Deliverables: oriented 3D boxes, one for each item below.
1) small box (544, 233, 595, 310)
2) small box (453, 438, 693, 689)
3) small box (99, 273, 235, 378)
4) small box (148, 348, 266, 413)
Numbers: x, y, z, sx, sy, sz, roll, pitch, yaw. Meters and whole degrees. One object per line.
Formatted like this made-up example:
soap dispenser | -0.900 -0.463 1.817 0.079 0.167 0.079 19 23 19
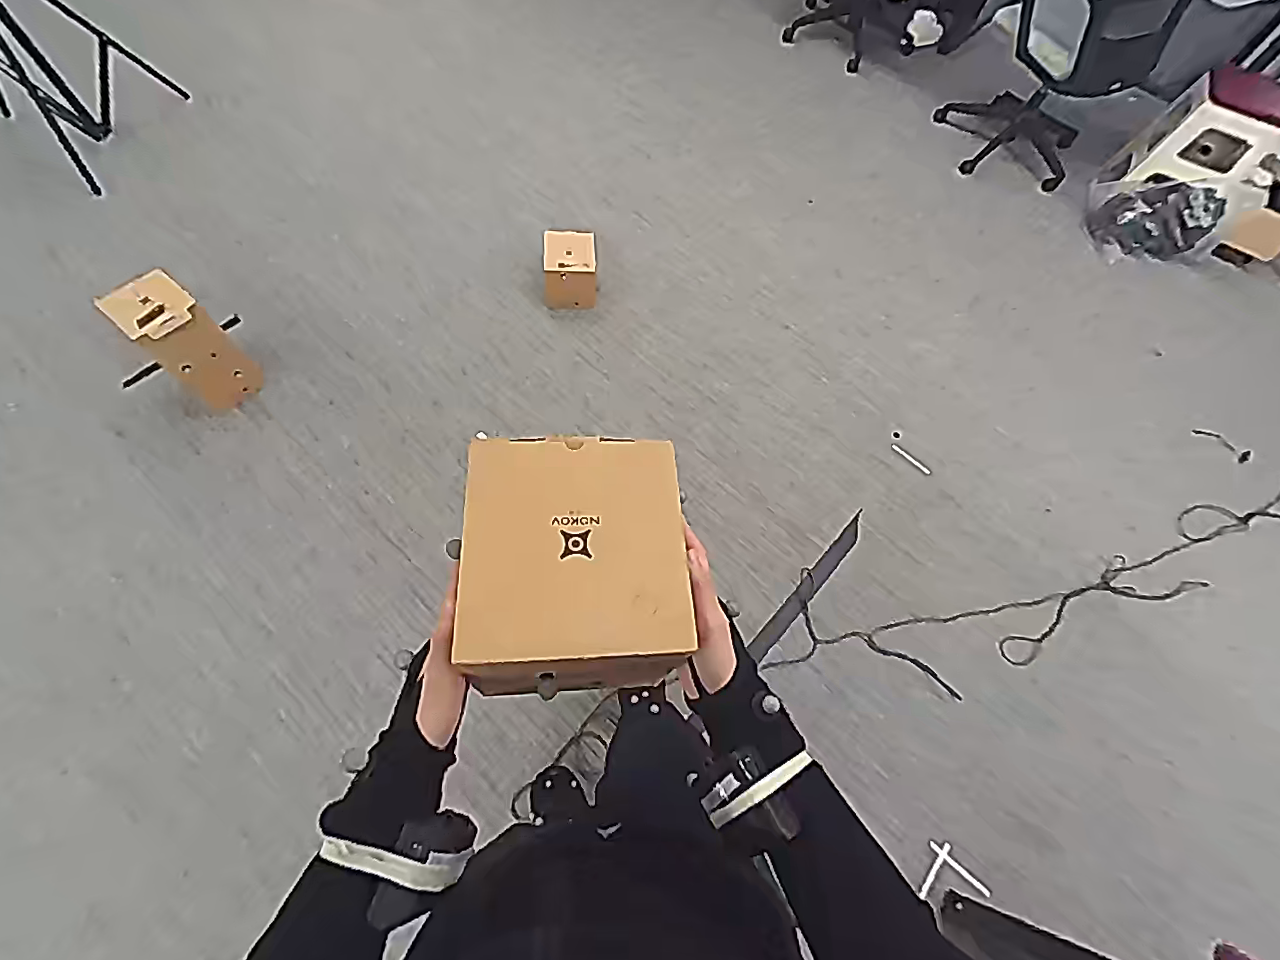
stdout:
small box | -0.237 -0.703 1.826 0.168 0.176 0.179 -1 65 -6
small box | -0.057 0.081 0.472 0.168 0.176 0.179 -1 61 -9
small box | -1.217 -0.393 1.408 0.179 0.176 0.168 37 67 13
small box | -1.234 -0.319 1.554 0.179 0.176 0.168 36 66 13
